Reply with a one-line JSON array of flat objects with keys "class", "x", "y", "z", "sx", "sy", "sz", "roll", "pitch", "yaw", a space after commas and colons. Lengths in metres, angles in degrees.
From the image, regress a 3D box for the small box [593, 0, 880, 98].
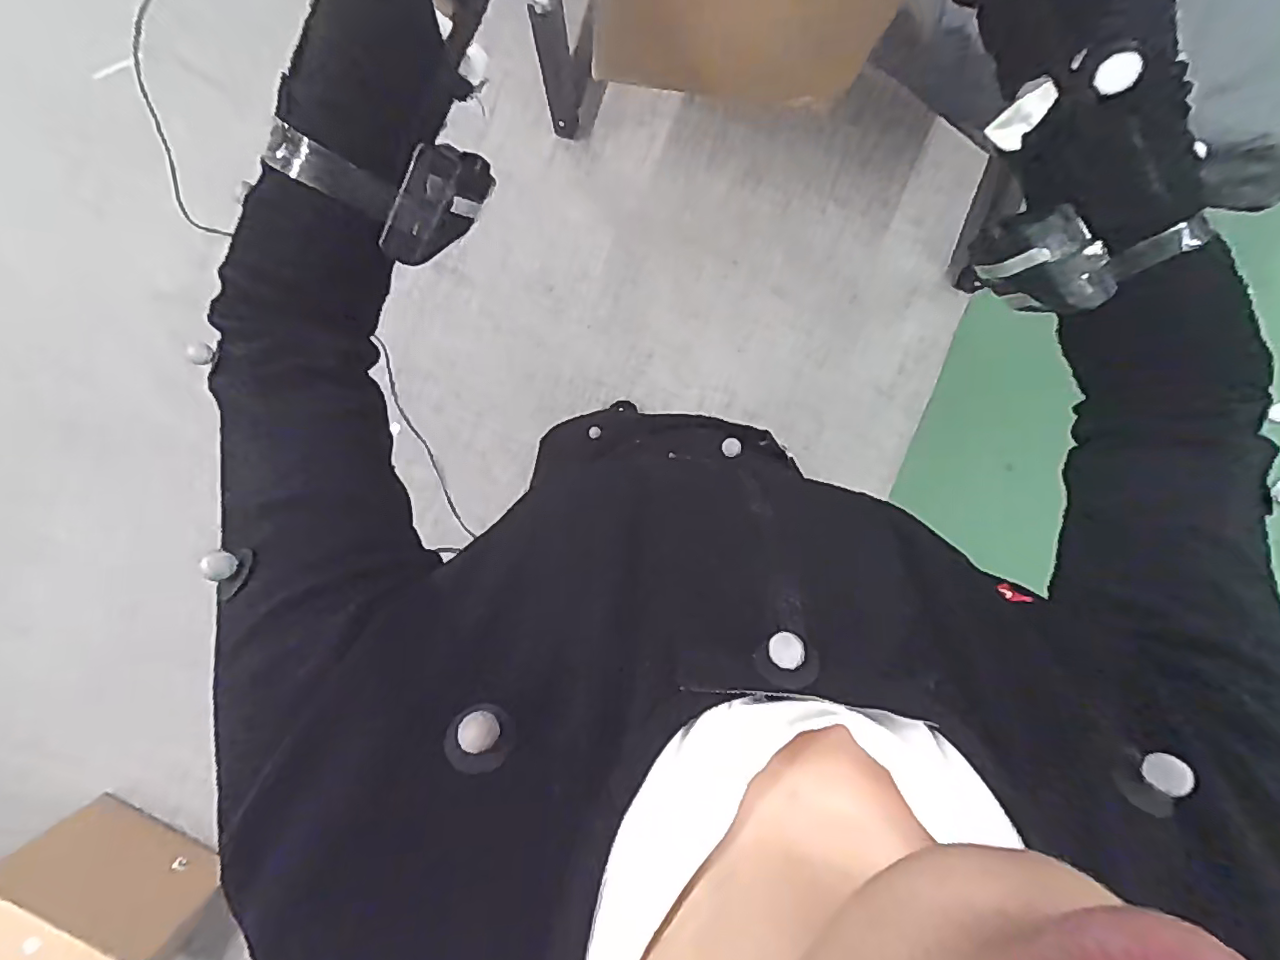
[{"class": "small box", "x": 0.066, "y": -0.360, "z": 0.311, "sx": 0.179, "sy": 0.176, "sz": 0.168, "roll": 4, "pitch": 93, "yaw": -6}]
